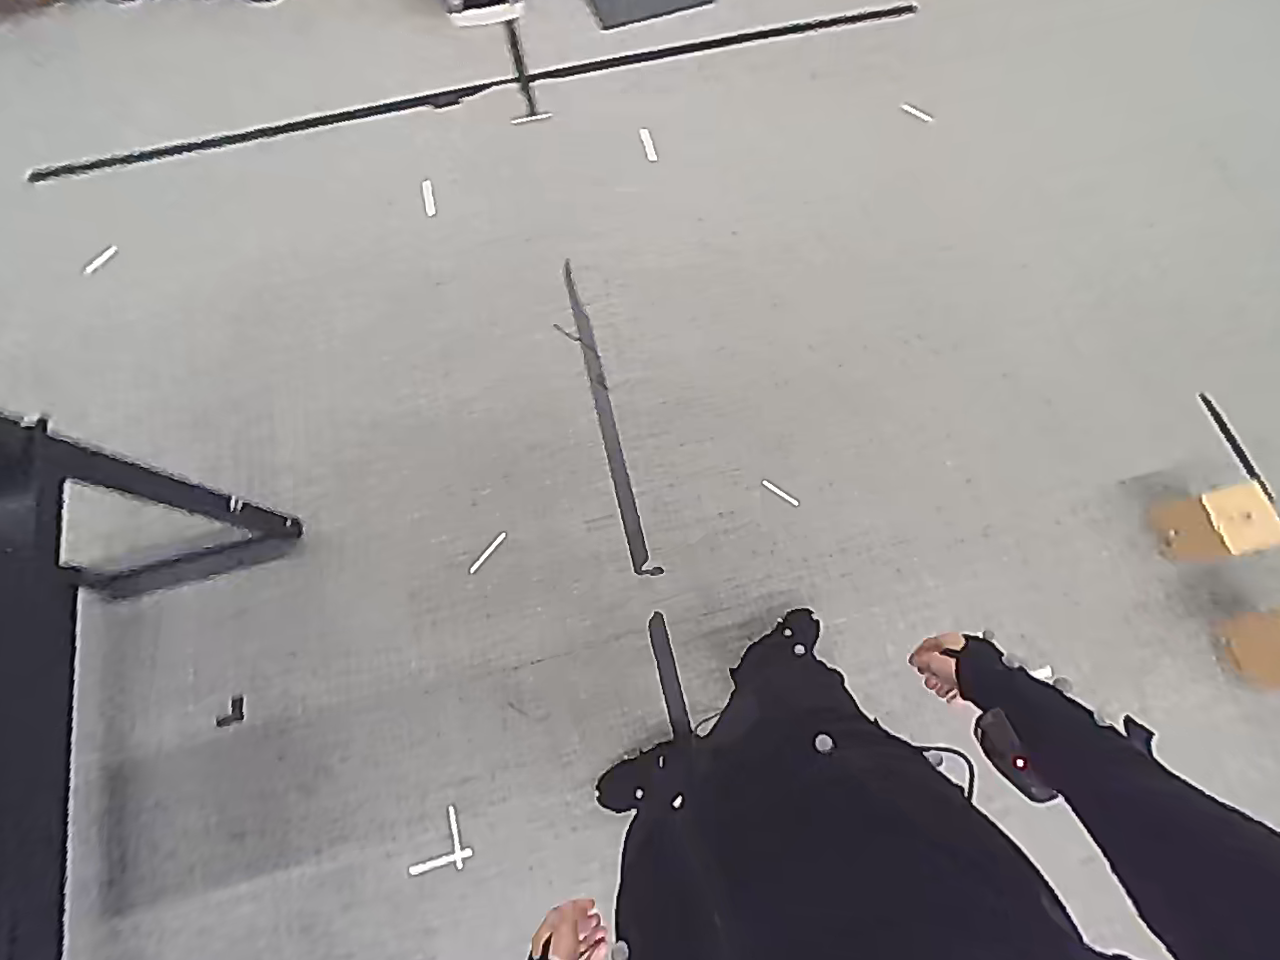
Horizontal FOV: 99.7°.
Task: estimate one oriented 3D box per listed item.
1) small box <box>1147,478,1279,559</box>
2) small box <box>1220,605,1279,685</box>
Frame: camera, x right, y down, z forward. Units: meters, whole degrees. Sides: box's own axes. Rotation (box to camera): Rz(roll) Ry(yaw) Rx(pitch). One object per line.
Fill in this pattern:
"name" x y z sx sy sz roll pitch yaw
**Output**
"small box" 1.566 0.110 1.476 0.179 0.176 0.168 -14 74 -4
"small box" 1.665 0.422 1.385 0.179 0.176 0.168 -17 74 -7
